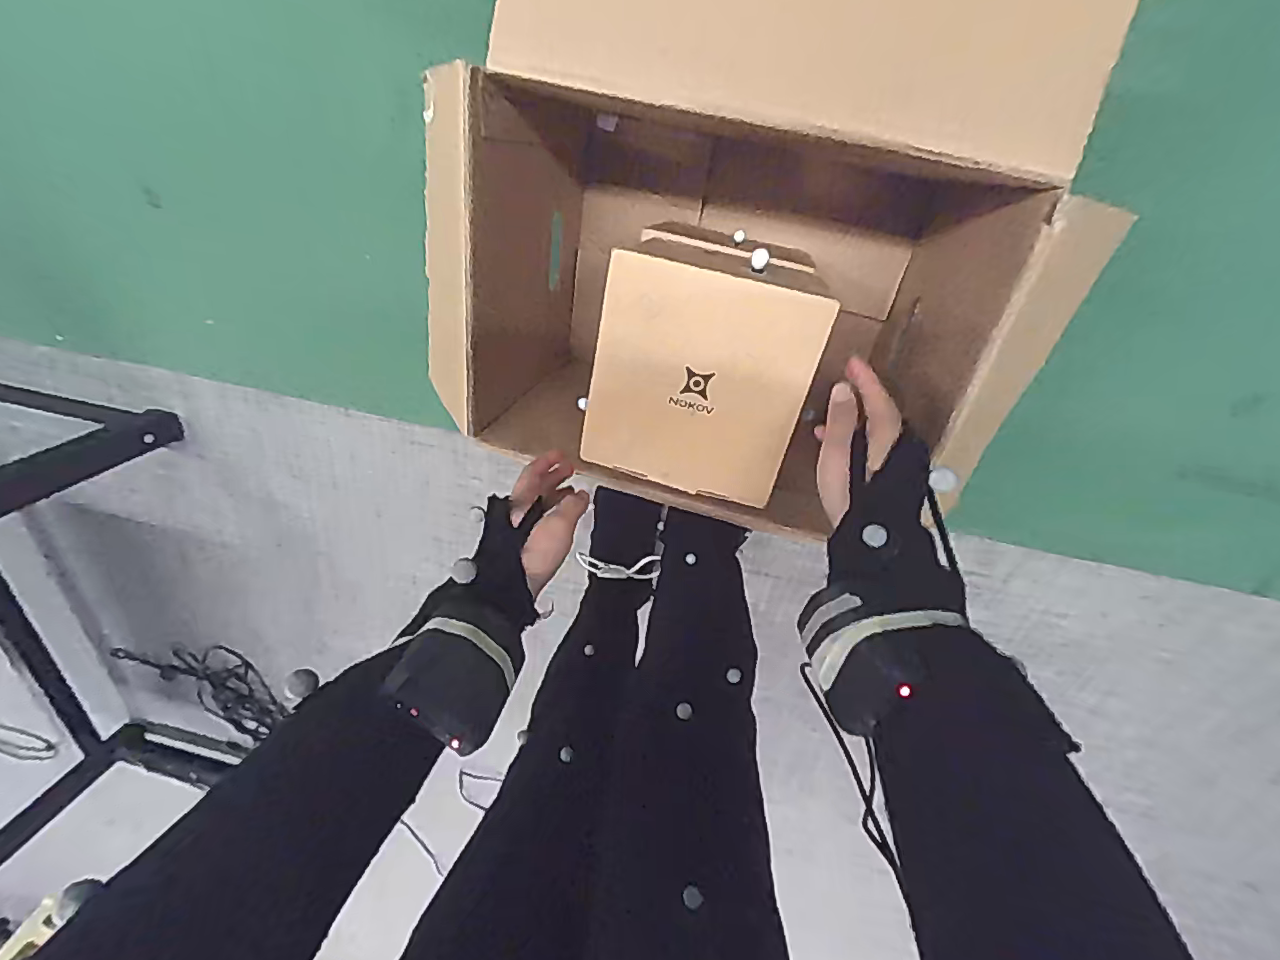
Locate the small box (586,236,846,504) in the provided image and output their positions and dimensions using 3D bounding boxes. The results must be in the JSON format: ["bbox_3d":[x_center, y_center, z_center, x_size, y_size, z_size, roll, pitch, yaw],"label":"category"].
[{"bbox_3d":[0.062,-0.110,0.487,0.168,0.176,0.179,15,120,4],"label":"small box"}]
